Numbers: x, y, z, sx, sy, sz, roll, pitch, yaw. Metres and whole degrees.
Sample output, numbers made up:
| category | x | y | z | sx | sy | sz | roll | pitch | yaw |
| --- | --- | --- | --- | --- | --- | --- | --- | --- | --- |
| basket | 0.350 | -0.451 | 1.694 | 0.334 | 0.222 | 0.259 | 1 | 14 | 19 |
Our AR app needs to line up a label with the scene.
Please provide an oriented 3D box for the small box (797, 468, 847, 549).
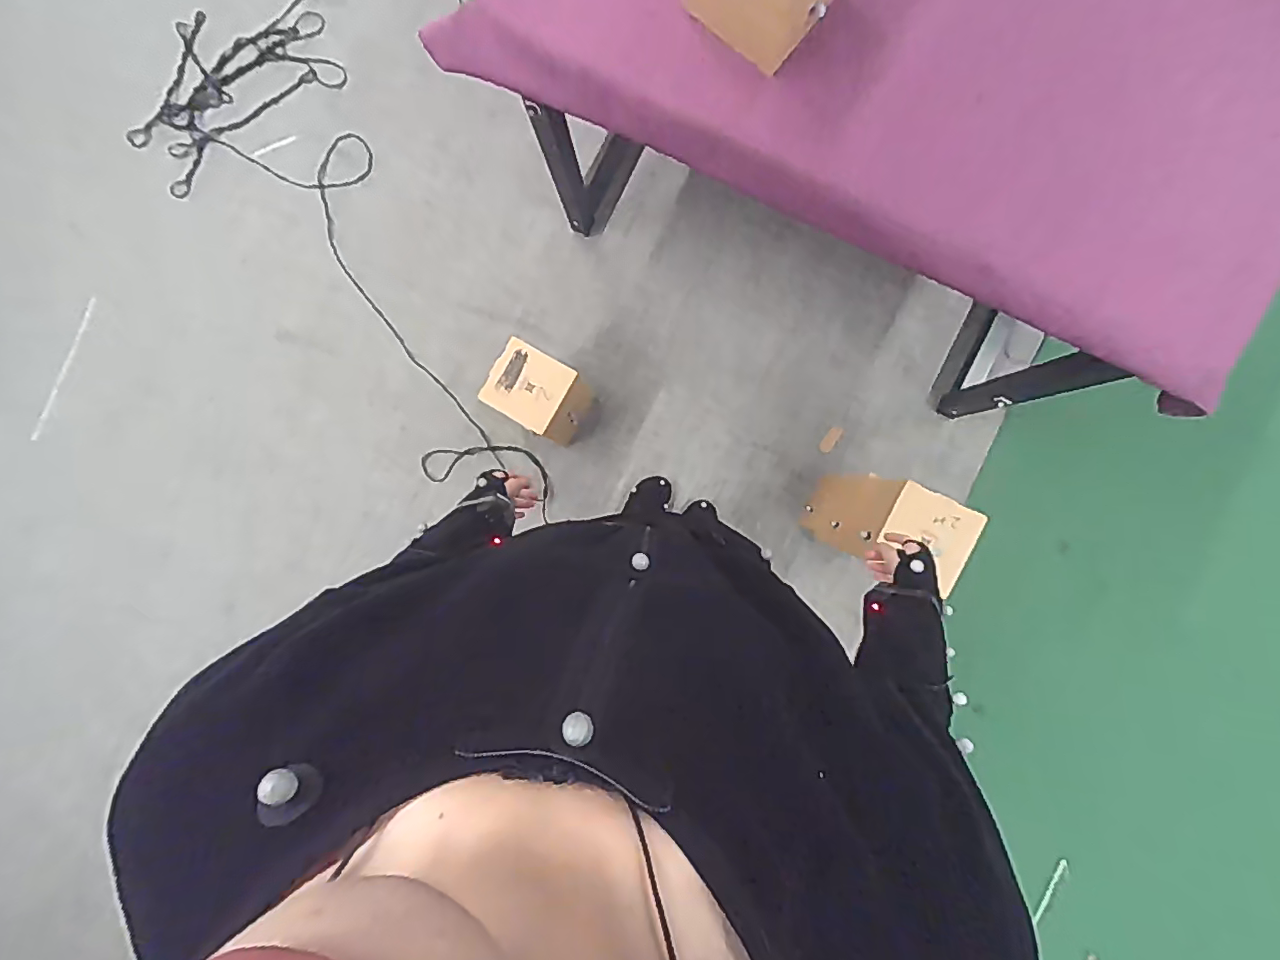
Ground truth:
| category | x | y | z | sx | sy | sz | roll | pitch | yaw |
| --- | --- | --- | --- | --- | --- | --- | --- | --- | --- |
| small box | 0.535 | 0.083 | 1.415 | 0.179 | 0.176 | 0.168 | 28 | 91 | 2 |

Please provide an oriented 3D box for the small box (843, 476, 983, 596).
| category | x | y | z | sx | sy | sz | roll | pitch | yaw |
| --- | --- | --- | --- | --- | --- | --- | --- | --- | --- |
| small box | 0.533 | 0.104 | 1.088 | 0.168 | 0.176 | 0.179 | 26 | 92 | 2 |

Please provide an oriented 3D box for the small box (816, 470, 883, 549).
| category | x | y | z | sx | sy | sz | roll | pitch | yaw |
| --- | --- | --- | --- | --- | --- | --- | --- | --- | --- |
| small box | 0.532 | 0.088 | 1.253 | 0.168 | 0.176 | 0.179 | 25 | 93 | 2 |

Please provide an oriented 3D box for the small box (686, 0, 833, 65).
| category | x | y | z | sx | sy | sz | roll | pitch | yaw |
| --- | --- | --- | --- | --- | --- | --- | --- | --- | --- |
| small box | 0.172 | -0.706 | 0.705 | 0.179 | 0.176 | 0.168 | 40 | 92 | 1 |

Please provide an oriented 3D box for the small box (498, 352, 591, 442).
| category | x | y | z | sx | sy | sz | roll | pitch | yaw |
| --- | --- | --- | --- | --- | --- | --- | --- | --- | --- |
| small box | -0.246 | -0.213 | 1.448 | 0.168 | 0.176 | 0.179 | 30 | 92 | 2 |
